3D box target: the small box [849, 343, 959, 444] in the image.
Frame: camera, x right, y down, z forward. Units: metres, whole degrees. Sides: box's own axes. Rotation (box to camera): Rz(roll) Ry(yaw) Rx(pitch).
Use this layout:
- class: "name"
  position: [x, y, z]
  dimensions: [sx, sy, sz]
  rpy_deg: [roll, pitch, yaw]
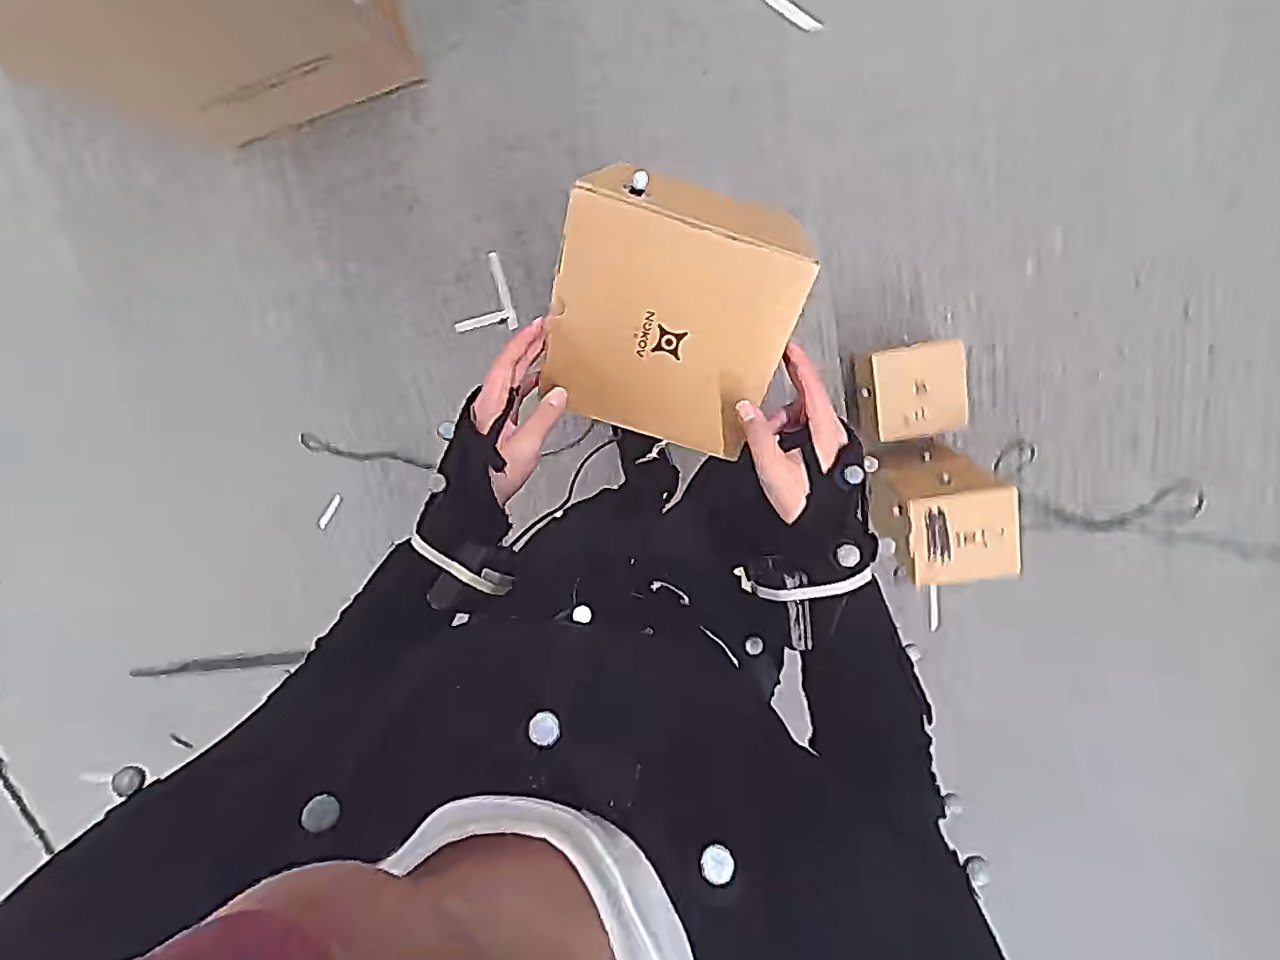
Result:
- class: "small box"
  position: [0.541, -0.184, 1.125]
  dimensions: [0.168, 0.176, 0.179]
  rpy_deg: [-8, 104, 11]

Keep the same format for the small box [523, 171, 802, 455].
- class: "small box"
  position: [0.018, -0.151, 0.464]
  dimensions: [0.179, 0.176, 0.168]
  rpy_deg: [16, 124, 0]

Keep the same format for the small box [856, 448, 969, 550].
- class: "small box"
  position: [0.589, 0.035, 1.183]
  dimensions: [0.179, 0.176, 0.168]
  rpy_deg: [-9, 104, 12]
